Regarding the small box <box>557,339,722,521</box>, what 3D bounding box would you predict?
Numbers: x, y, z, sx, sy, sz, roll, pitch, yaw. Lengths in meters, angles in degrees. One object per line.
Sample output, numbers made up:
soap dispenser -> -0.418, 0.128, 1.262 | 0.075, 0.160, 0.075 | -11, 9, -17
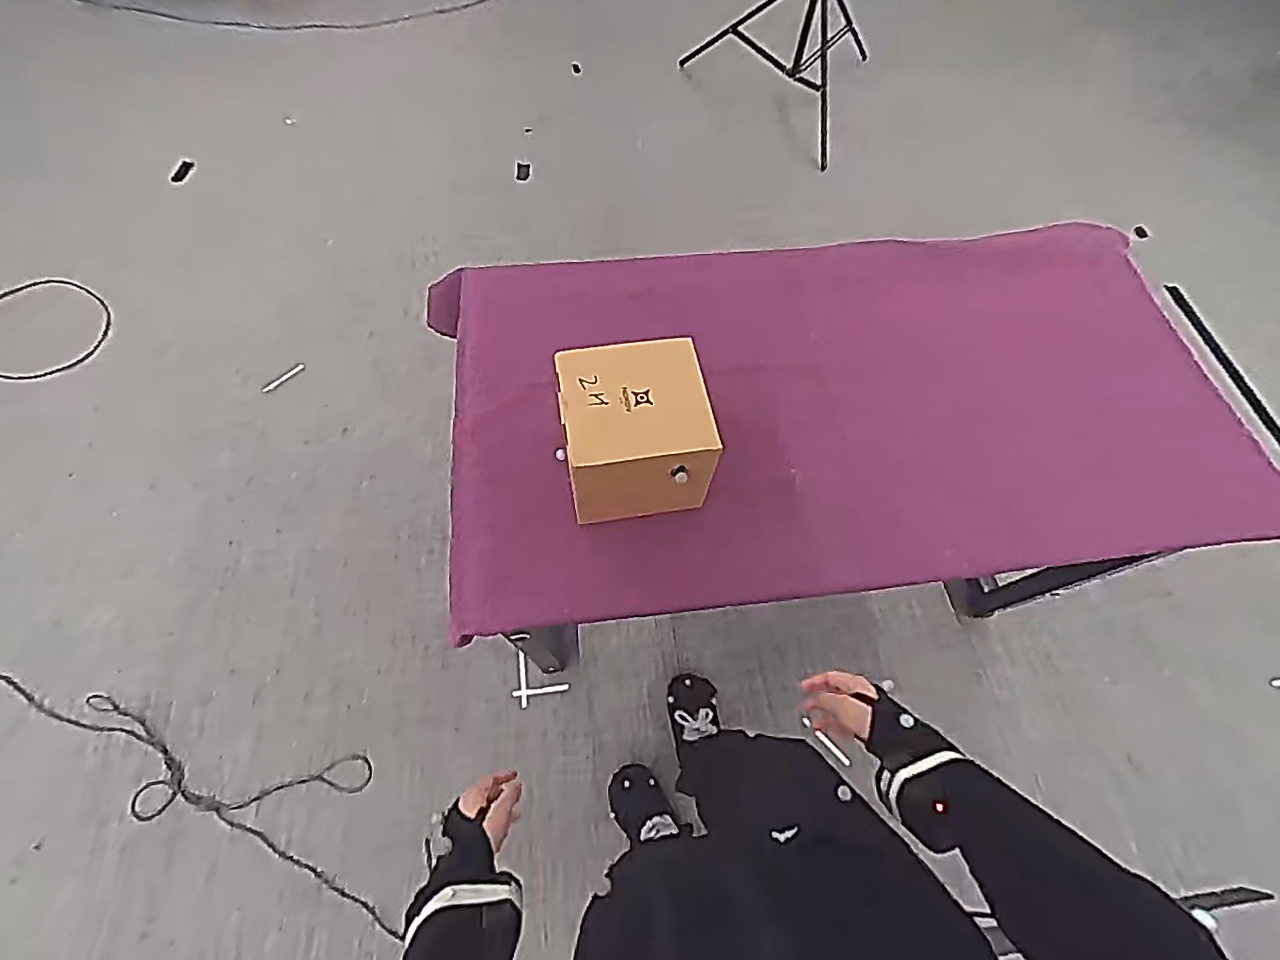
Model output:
small box -> -0.008, -0.059, 0.707 | 0.179, 0.176, 0.168 | -8, 63, -6
